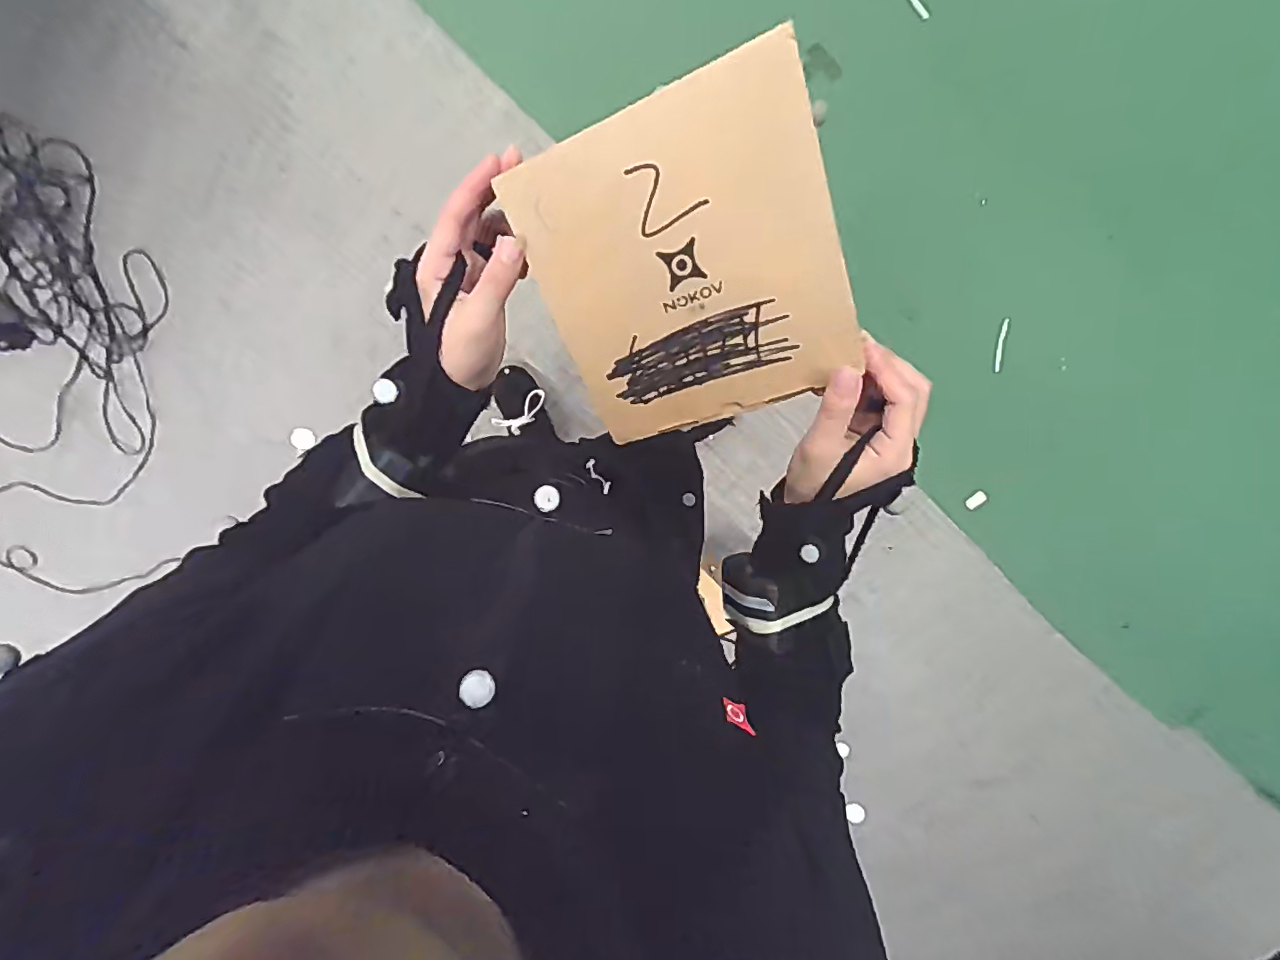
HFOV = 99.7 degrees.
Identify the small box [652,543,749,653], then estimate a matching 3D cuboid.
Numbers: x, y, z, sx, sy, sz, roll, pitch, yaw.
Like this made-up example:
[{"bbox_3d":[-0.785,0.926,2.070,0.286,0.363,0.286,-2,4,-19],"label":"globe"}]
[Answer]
[{"bbox_3d":[0.151,0.290,1.364,0.168,0.176,0.179,-43,98,14],"label":"small box"}]
